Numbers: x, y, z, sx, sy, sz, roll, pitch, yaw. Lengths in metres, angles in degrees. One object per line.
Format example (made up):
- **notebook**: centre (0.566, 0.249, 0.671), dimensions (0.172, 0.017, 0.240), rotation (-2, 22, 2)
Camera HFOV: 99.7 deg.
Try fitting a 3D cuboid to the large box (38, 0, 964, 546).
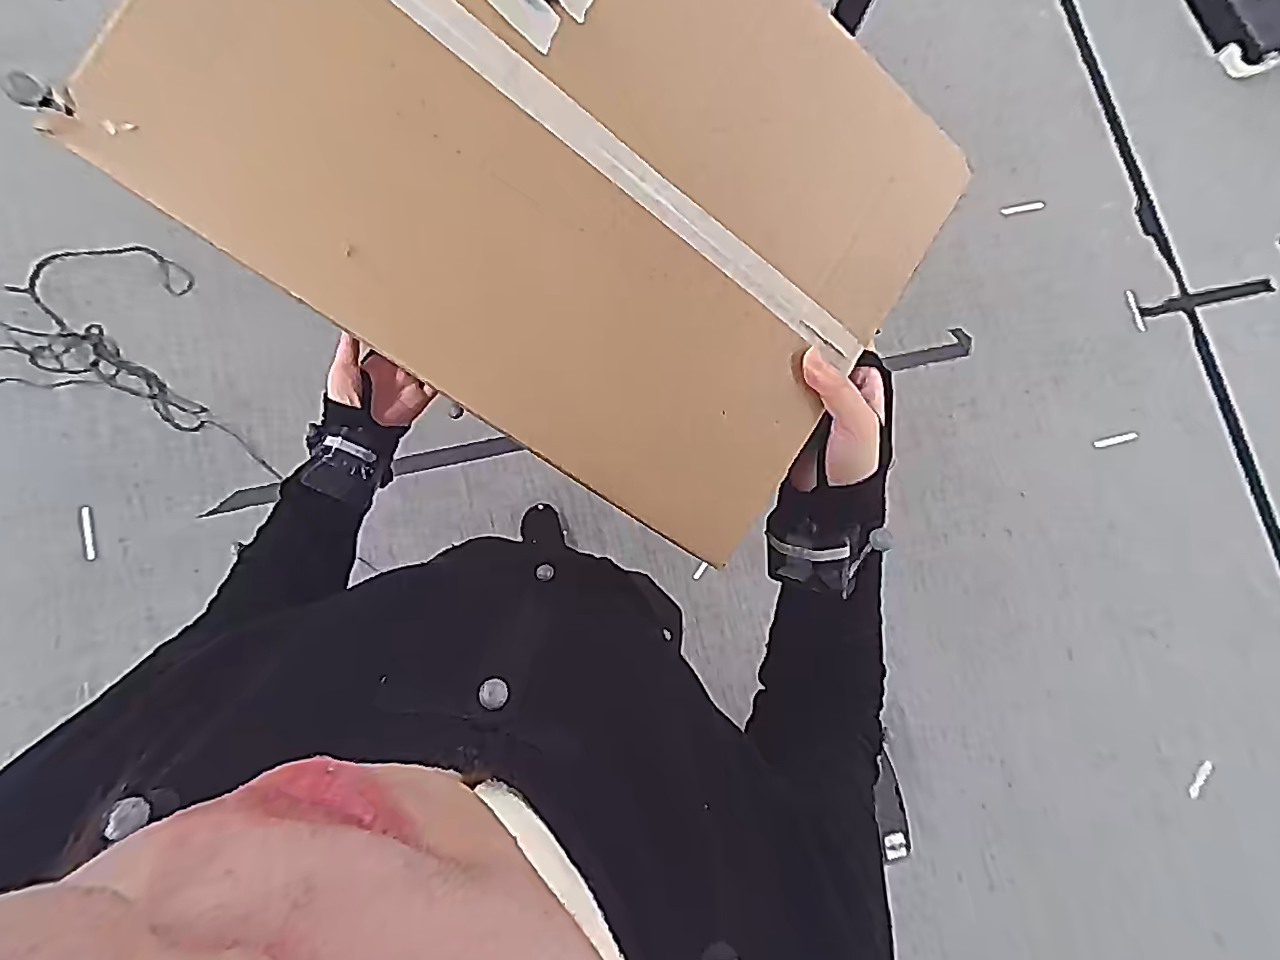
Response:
- **large box**: centre (-0.064, -0.200, 0.440), dimensions (0.408, 0.320, 0.320), rotation (33, 87, -13)
